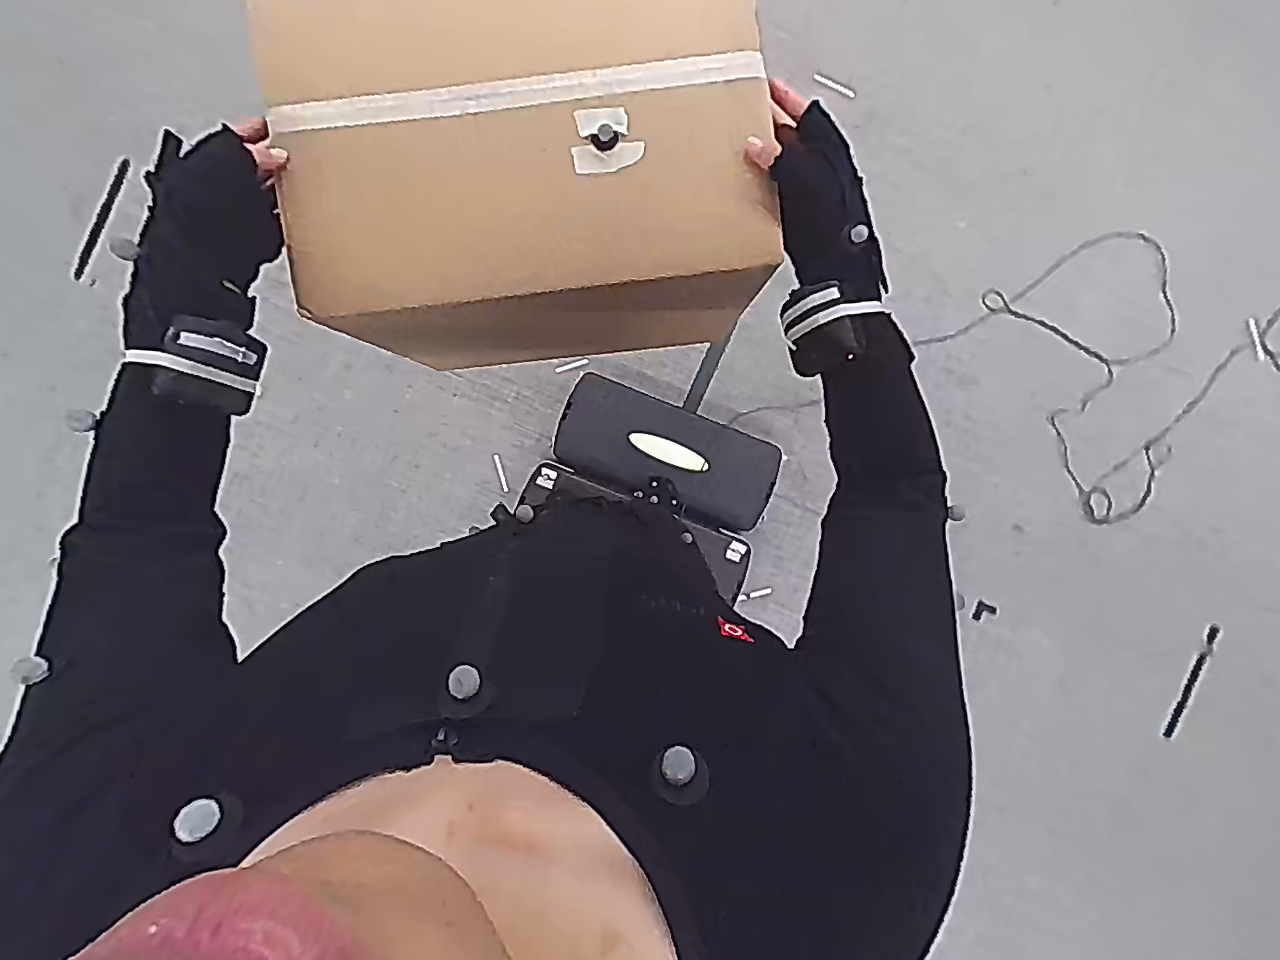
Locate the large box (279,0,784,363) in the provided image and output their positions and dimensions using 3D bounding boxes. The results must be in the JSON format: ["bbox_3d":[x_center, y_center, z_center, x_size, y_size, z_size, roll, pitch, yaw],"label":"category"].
[{"bbox_3d":[-0.094,-0.328,0.600,0.408,0.320,0.320,-6,94,-1],"label":"large box"}]

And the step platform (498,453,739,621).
[{"bbox_3d":[-0.059,0.165,1.587,0.684,0.204,0.286,21,89,-1],"label":"step platform"}]
